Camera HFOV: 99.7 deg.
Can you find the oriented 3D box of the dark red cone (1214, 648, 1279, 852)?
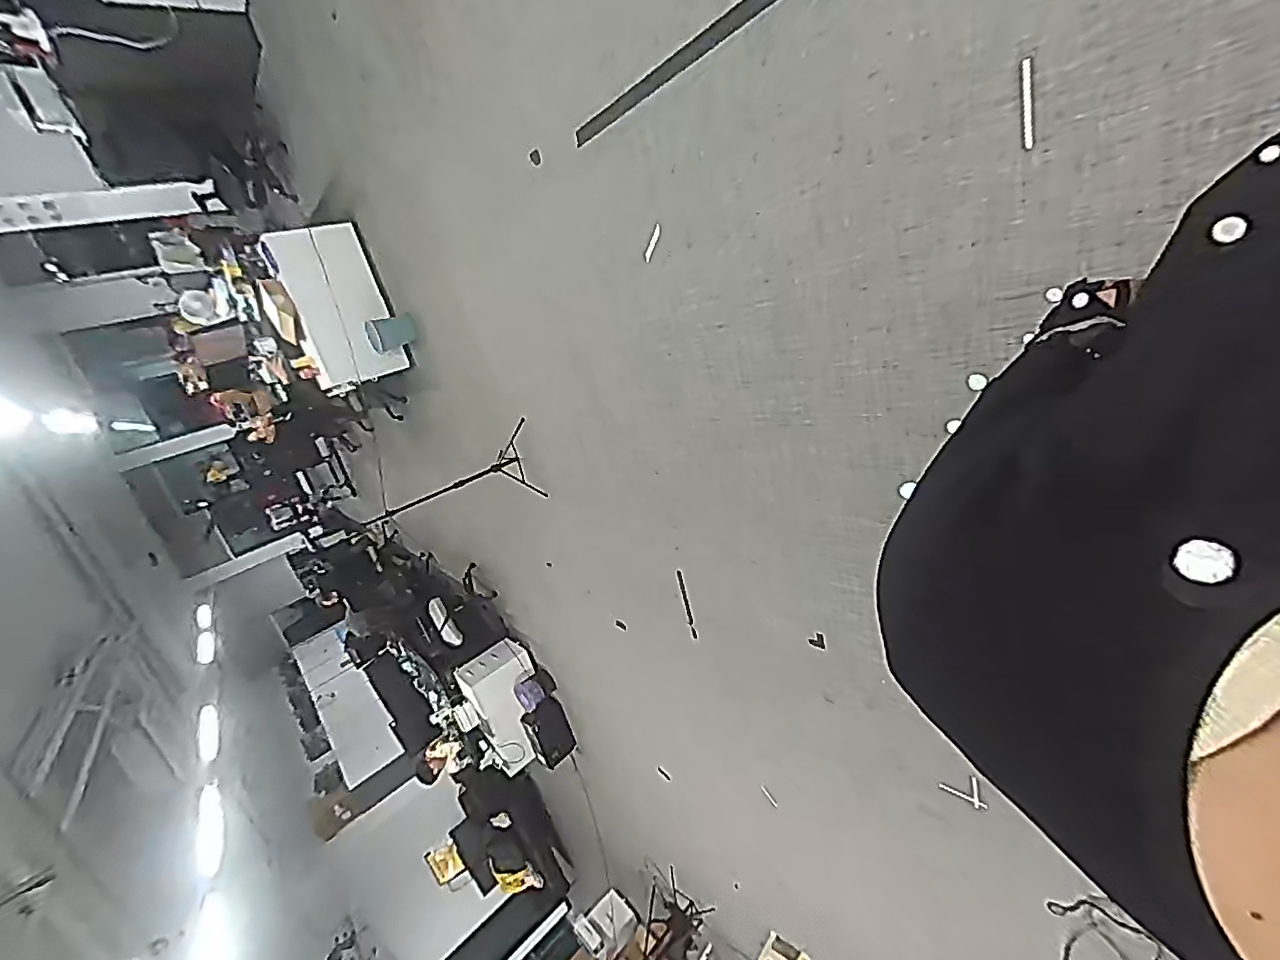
[{"bbox_3d":[1.163,0.505,0.981,0.201,0.394,0.202,7,120,51],"label":"dark red cone"}]
